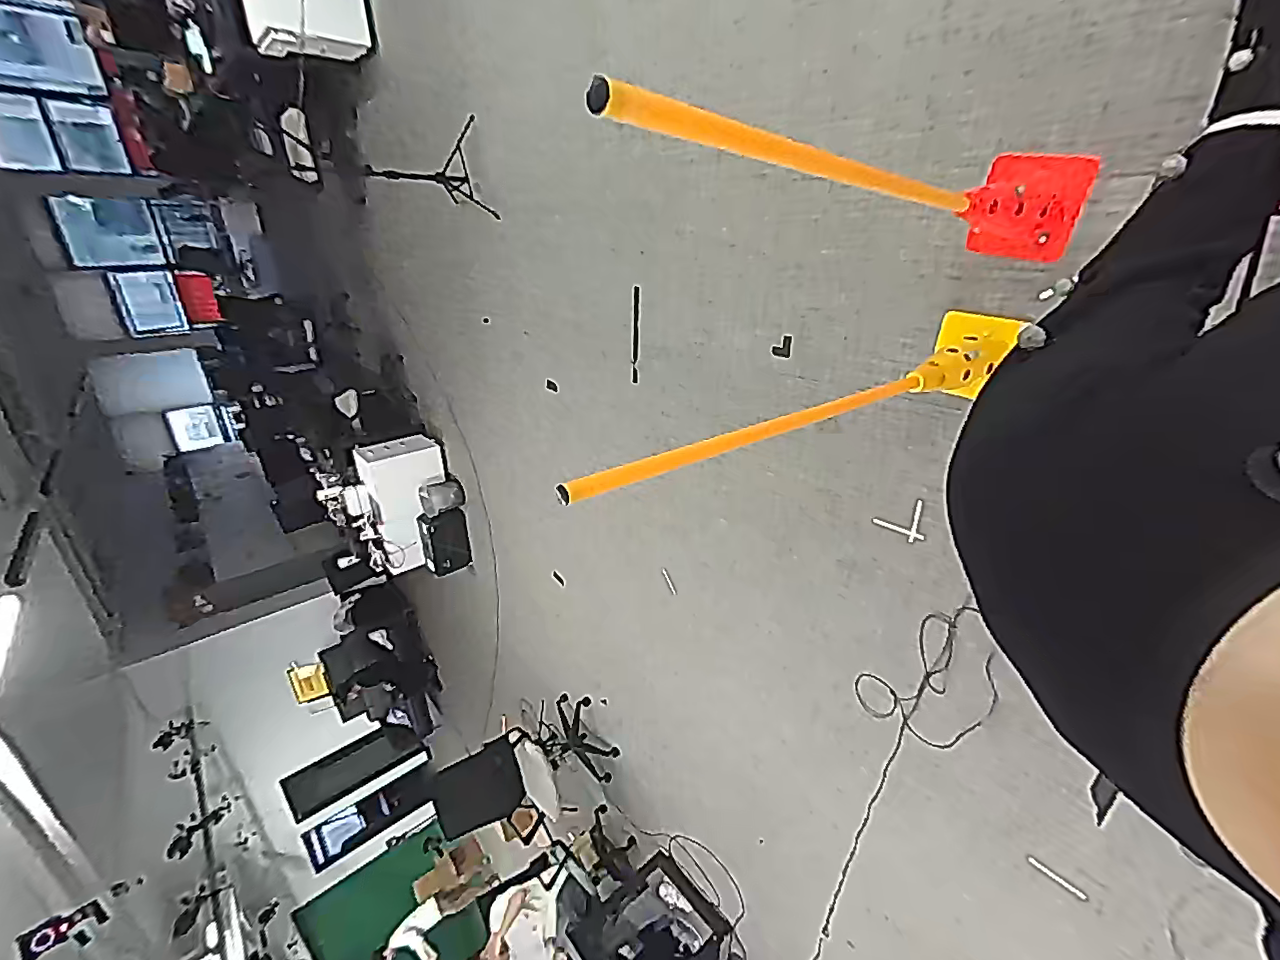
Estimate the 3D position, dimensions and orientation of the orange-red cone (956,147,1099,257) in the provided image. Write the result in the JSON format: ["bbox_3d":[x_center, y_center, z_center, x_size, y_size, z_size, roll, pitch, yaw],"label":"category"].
[{"bbox_3d":[0.706,-0.553,1.060,0.198,0.360,0.199,33,129,38],"label":"orange-red cone"}]
